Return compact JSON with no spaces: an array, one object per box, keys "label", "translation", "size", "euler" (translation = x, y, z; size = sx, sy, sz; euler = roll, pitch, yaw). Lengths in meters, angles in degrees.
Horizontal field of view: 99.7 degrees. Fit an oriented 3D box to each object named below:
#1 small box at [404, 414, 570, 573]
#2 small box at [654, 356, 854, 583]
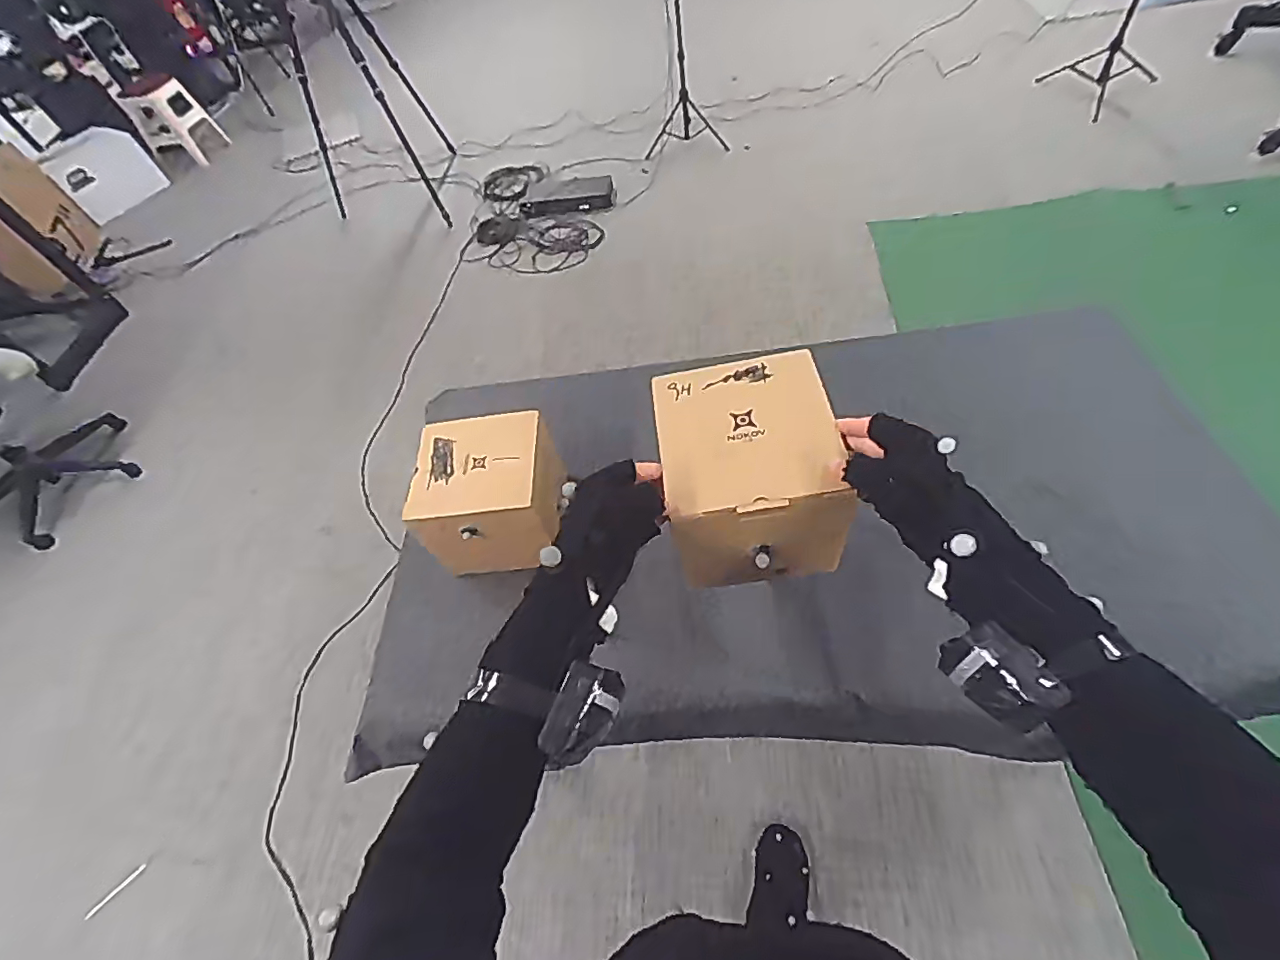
[{"label":"small box","translation":[-0.211,0.027,0.797],"size":[0.179,0.176,0.168],"euler":[-6,55,5]},{"label":"small box","translation":[0.115,0.000,0.581],"size":[0.168,0.176,0.179],"euler":[-9,56,6]}]
